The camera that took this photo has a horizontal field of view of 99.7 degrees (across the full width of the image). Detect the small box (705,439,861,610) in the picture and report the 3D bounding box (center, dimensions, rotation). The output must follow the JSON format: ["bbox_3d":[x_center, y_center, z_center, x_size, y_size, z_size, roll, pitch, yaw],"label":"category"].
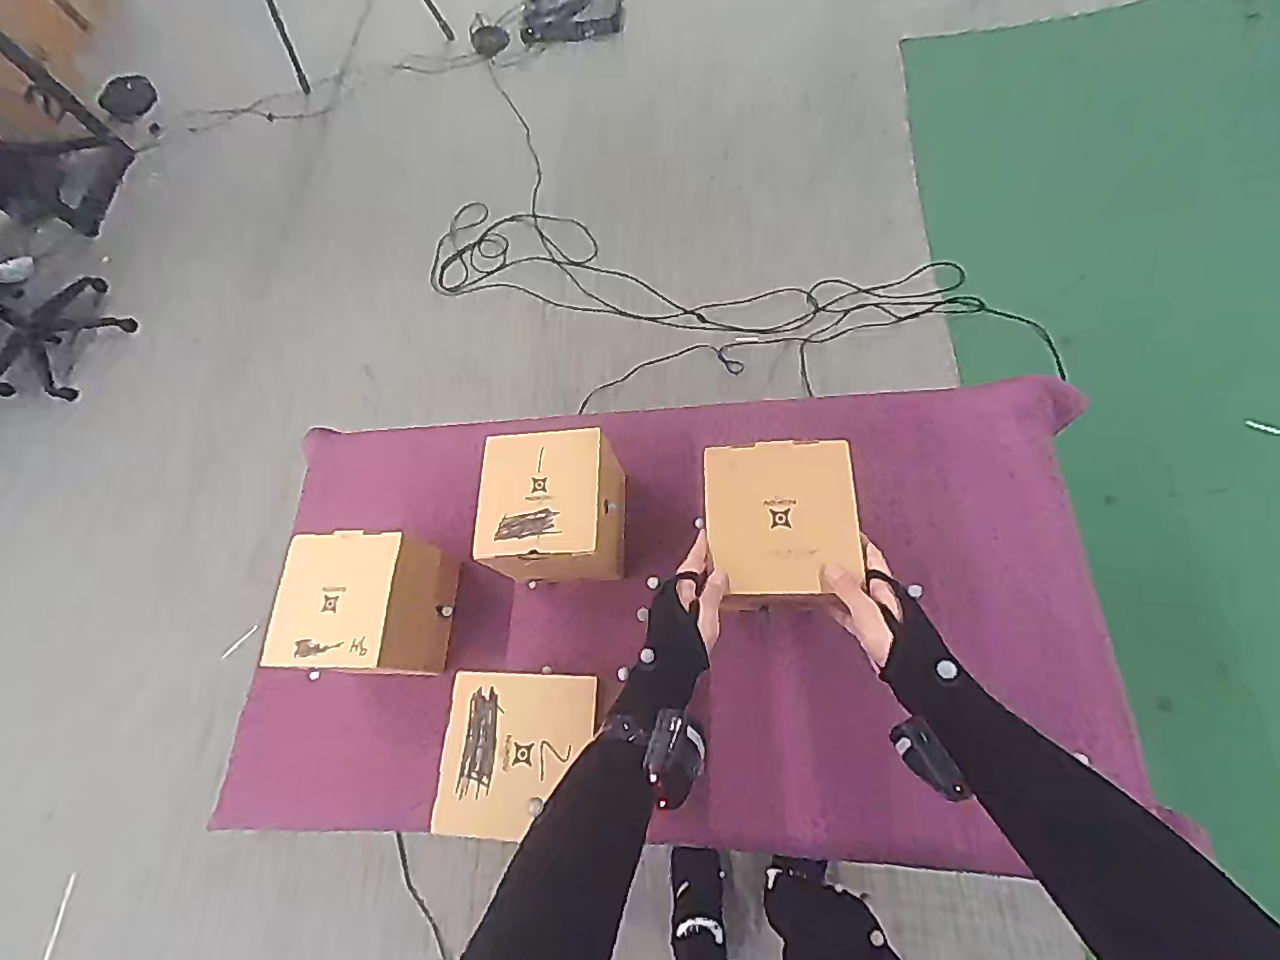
[{"bbox_3d":[0.166,0.063,0.678,0.168,0.176,0.179,-2,70,9],"label":"small box"}]

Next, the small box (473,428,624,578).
[{"bbox_3d":[-0.119,0.043,0.782,0.168,0.176,0.179,-3,67,9],"label":"small box"}]

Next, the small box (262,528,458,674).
[{"bbox_3d":[-0.383,0.178,0.775,0.168,0.176,0.179,-2,67,11],"label":"small box"}]
